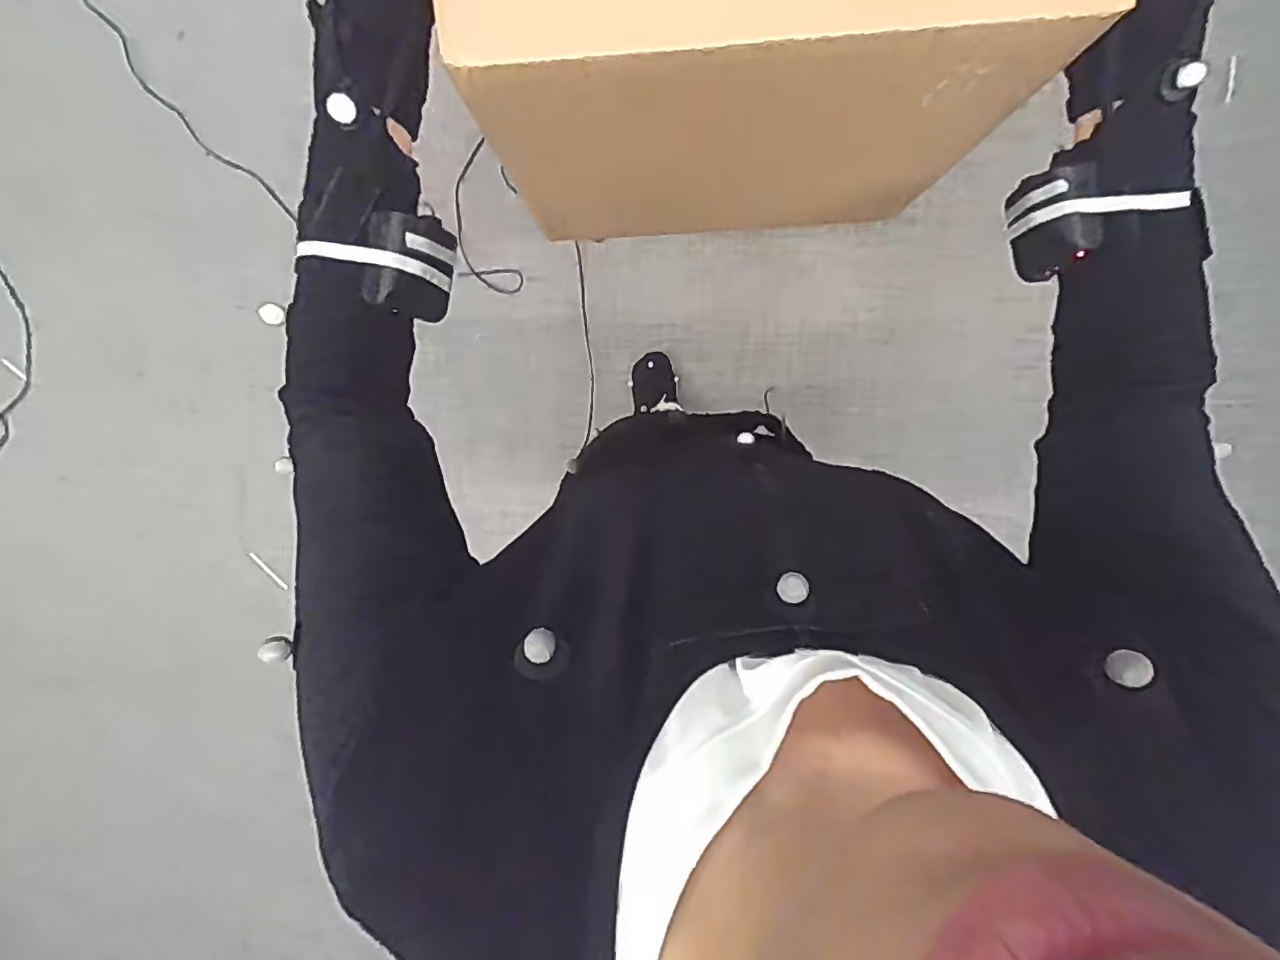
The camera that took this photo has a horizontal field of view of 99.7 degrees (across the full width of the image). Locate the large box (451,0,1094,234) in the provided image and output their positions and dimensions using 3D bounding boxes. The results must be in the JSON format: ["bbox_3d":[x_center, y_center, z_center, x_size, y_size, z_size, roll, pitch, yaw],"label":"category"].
[{"bbox_3d":[0.072,-0.436,0.464,0.408,0.320,0.320,-4,96,1],"label":"large box"}]
